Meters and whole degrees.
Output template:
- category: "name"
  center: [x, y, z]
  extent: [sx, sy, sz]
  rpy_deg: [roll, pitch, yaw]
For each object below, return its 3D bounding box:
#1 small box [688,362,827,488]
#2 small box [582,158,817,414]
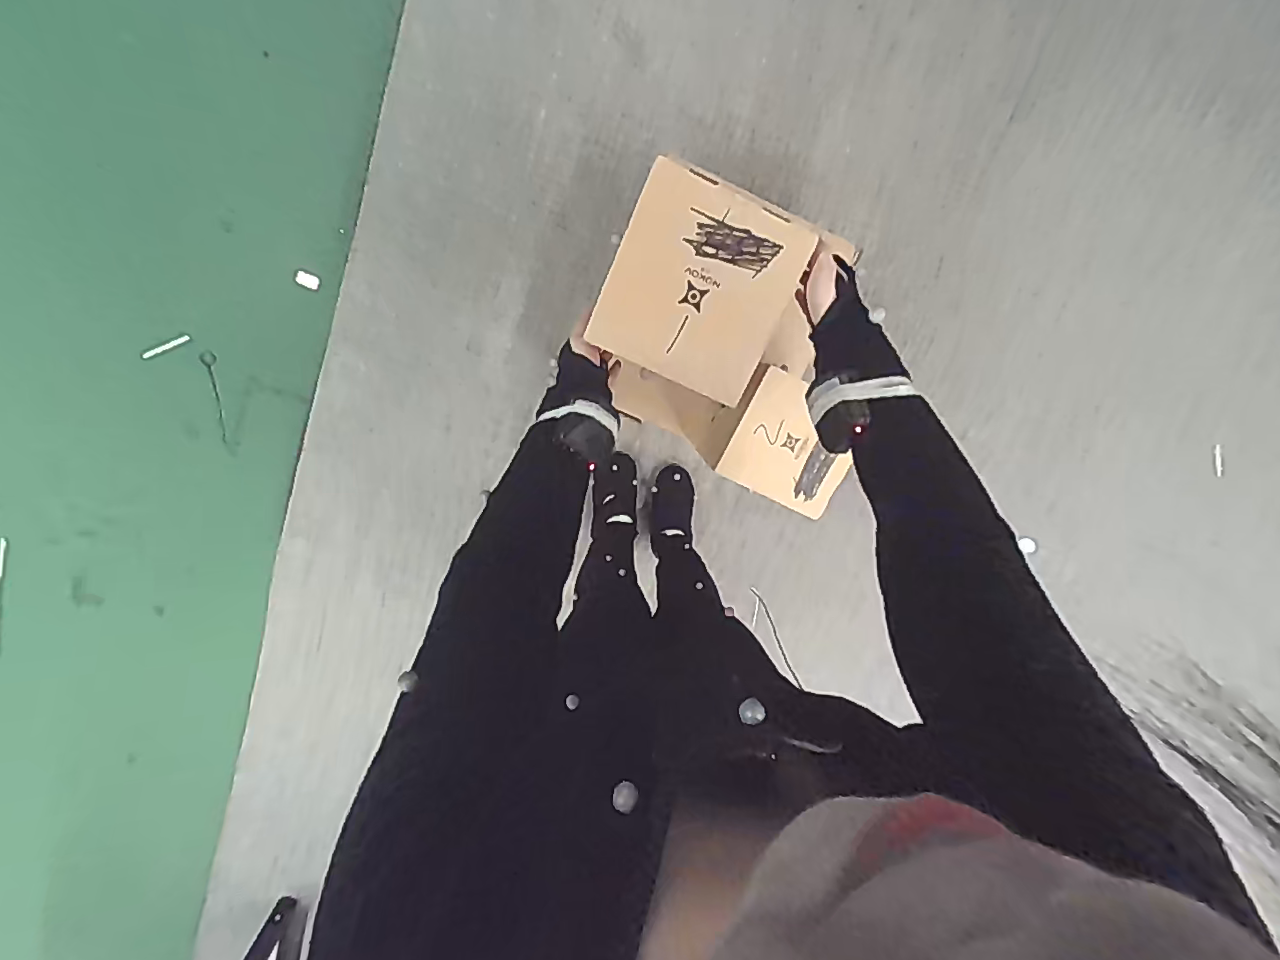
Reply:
- category: "small box"
  center: [0.200, -0.109, 0.984]
  extent: [0.168, 0.176, 0.179]
  rpy_deg: [24, 99, -8]
- category: "small box"
  center: [0.050, -0.192, 0.572]
  extent: [0.168, 0.176, 0.179]
  rpy_deg: [24, 104, -7]
